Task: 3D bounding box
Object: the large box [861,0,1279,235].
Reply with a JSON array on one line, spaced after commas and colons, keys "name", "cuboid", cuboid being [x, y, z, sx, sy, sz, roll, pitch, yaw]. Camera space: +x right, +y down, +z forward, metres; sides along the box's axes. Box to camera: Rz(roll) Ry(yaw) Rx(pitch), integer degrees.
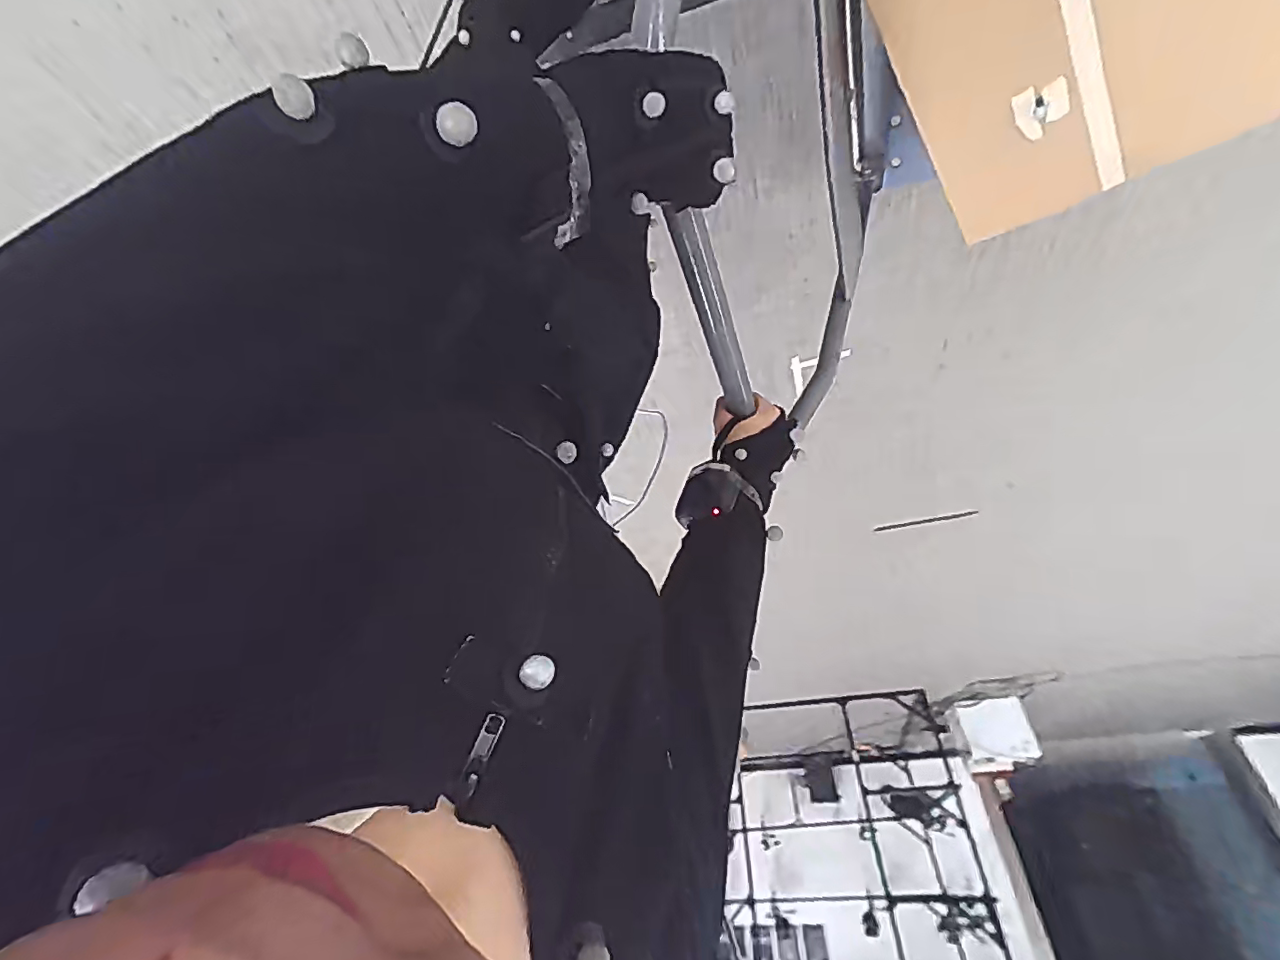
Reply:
[{"name": "large box", "cuboid": [0.466, -0.590, 0.608, 0.320, 0.320, 0.408, -13, 139, 43]}]
